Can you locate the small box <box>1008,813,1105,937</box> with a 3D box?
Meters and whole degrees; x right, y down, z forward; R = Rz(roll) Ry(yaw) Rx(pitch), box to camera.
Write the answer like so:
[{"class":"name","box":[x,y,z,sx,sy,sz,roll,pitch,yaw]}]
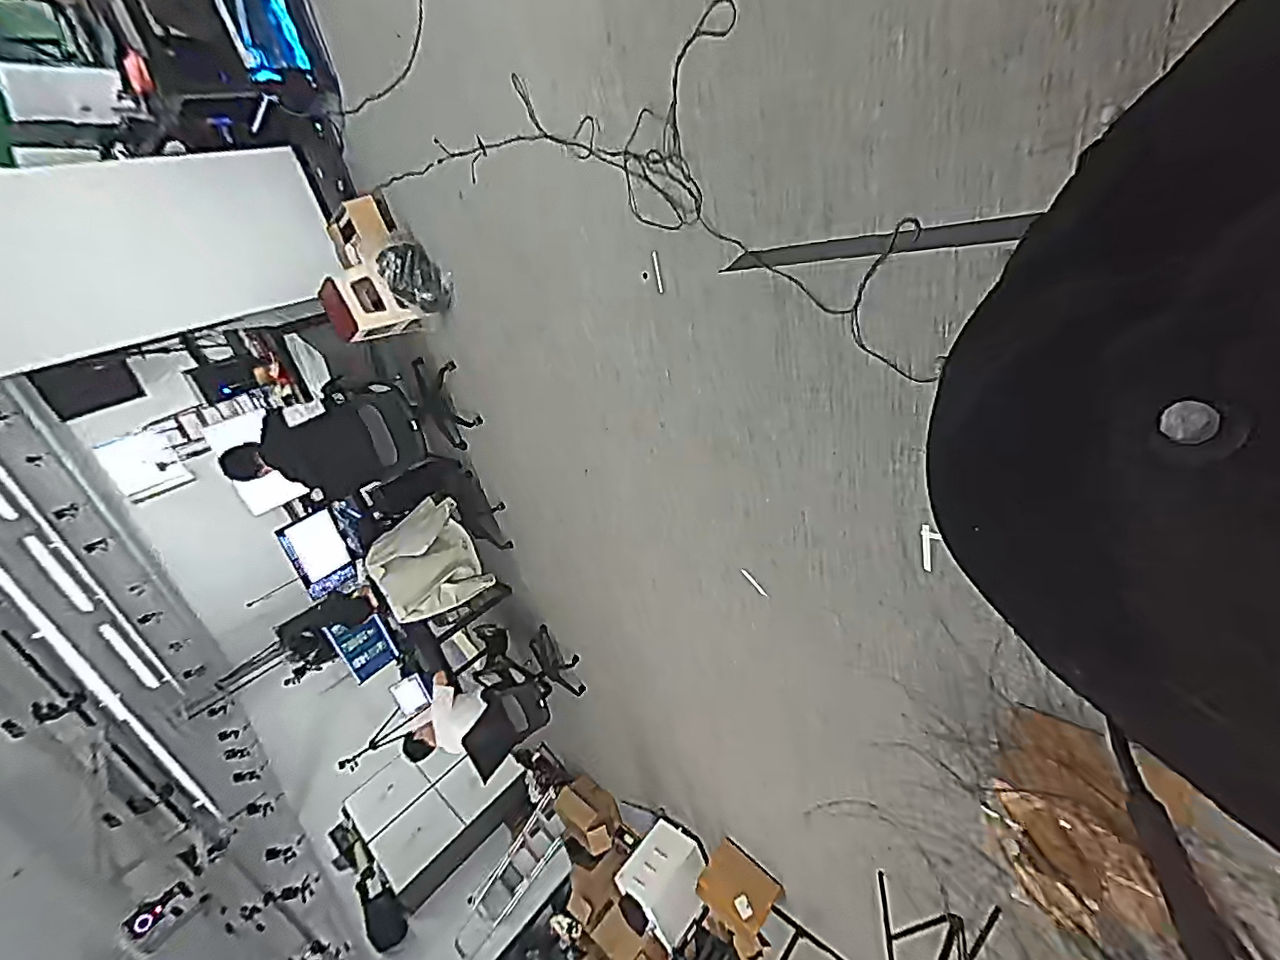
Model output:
[{"class":"small box","box":[1.114,1.042,1.444,0.179,0.176,0.168,12,124,44]}]
